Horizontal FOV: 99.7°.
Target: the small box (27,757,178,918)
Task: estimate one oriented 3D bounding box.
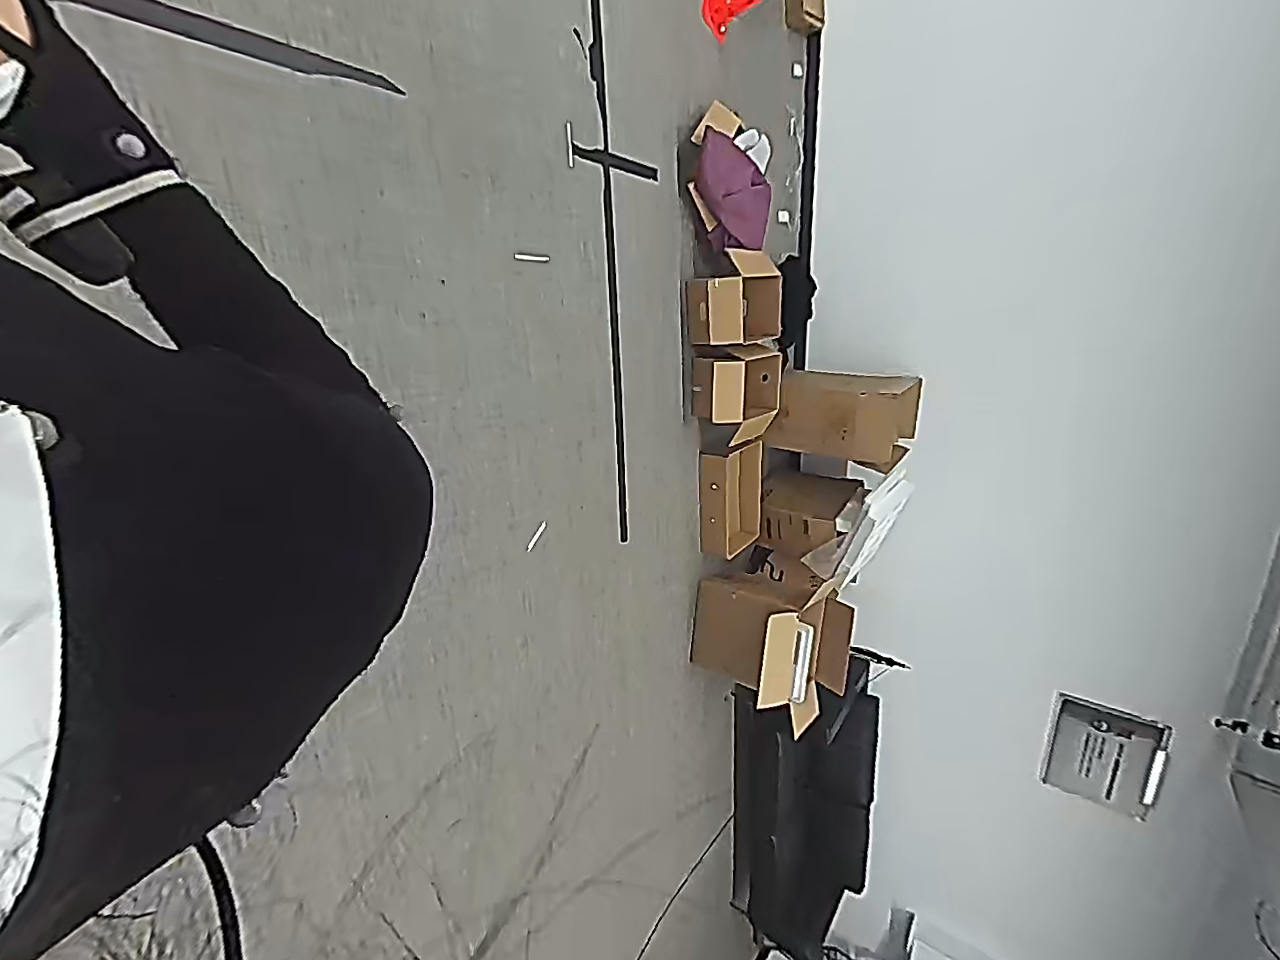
[{"bbox_3d":[-1.047,0.677,1.054,0.168,0.176,0.179,-20,114,-48],"label":"small box"}]
